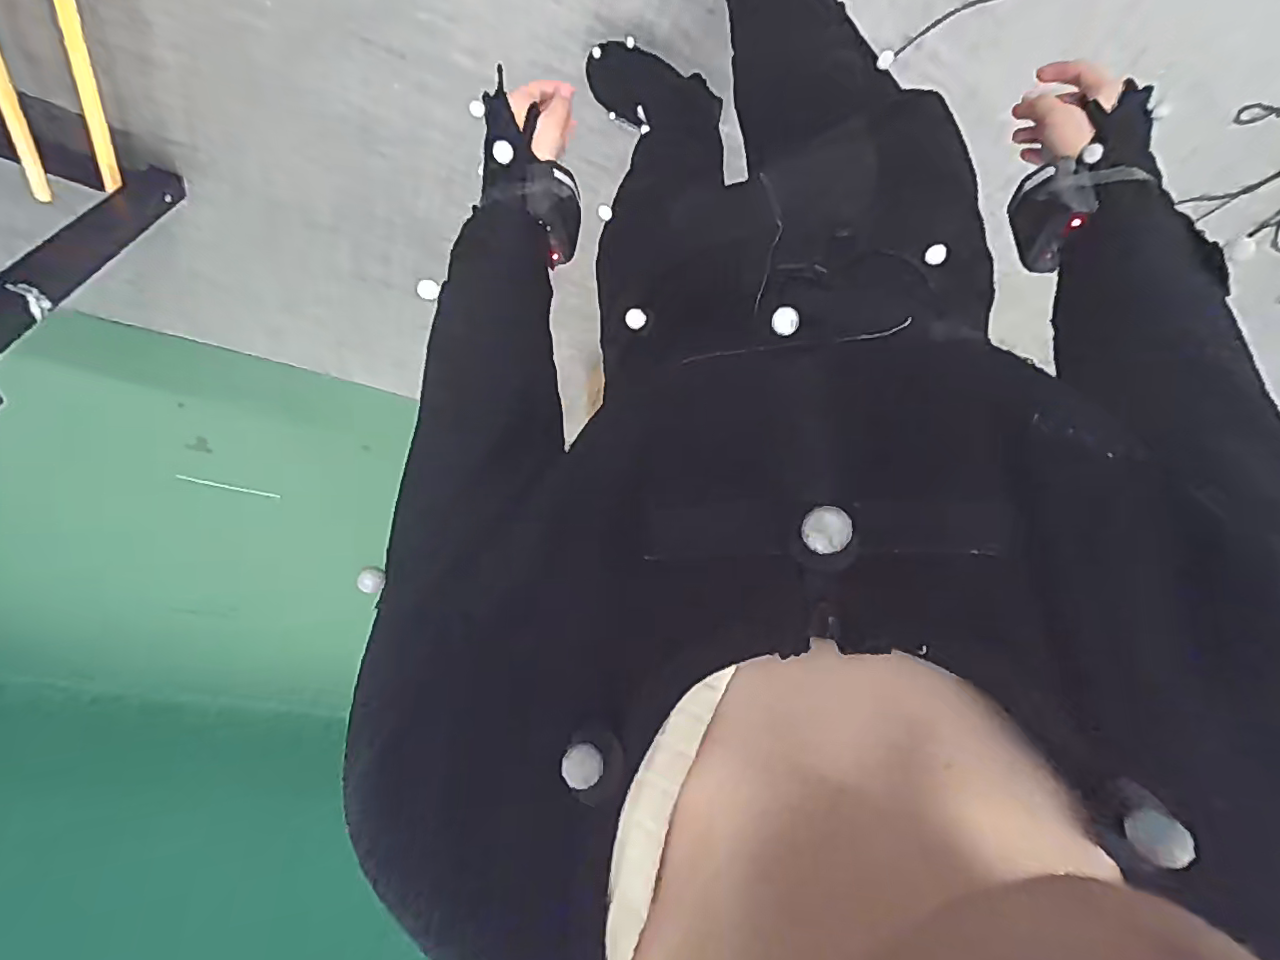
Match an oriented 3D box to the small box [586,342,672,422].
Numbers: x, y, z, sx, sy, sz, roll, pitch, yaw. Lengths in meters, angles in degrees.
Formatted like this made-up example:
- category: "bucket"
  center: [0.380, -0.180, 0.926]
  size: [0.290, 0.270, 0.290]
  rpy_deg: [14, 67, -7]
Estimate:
- category: "small box"
  center: [-0.032, -0.240, 1.438]
  size: [0.179, 0.176, 0.168]
  rpy_deg: [16, 138, -20]
